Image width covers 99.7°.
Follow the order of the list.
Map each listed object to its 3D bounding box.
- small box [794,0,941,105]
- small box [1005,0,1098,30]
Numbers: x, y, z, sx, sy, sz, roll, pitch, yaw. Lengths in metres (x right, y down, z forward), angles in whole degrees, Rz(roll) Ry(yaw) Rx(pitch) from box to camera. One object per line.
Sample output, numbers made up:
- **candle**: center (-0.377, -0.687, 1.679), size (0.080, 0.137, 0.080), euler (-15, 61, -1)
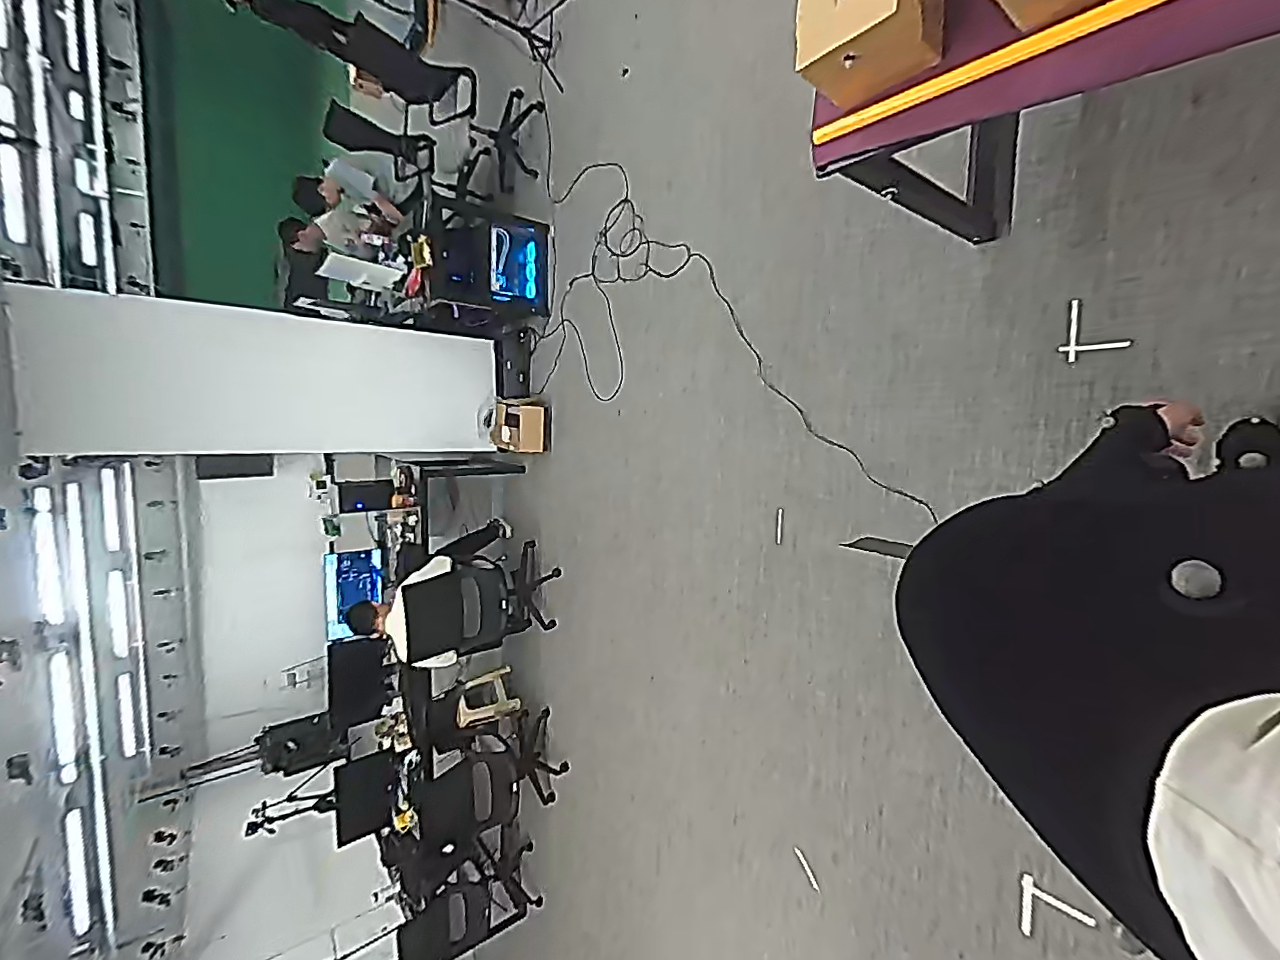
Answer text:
- **small box**: center (0.377, -0.765, 0.888), size (0.179, 0.176, 0.168), euler (7, 98, 51)
- **small box**: center (0.547, -0.724, 0.669), size (0.168, 0.176, 0.179), euler (9, 100, 53)
